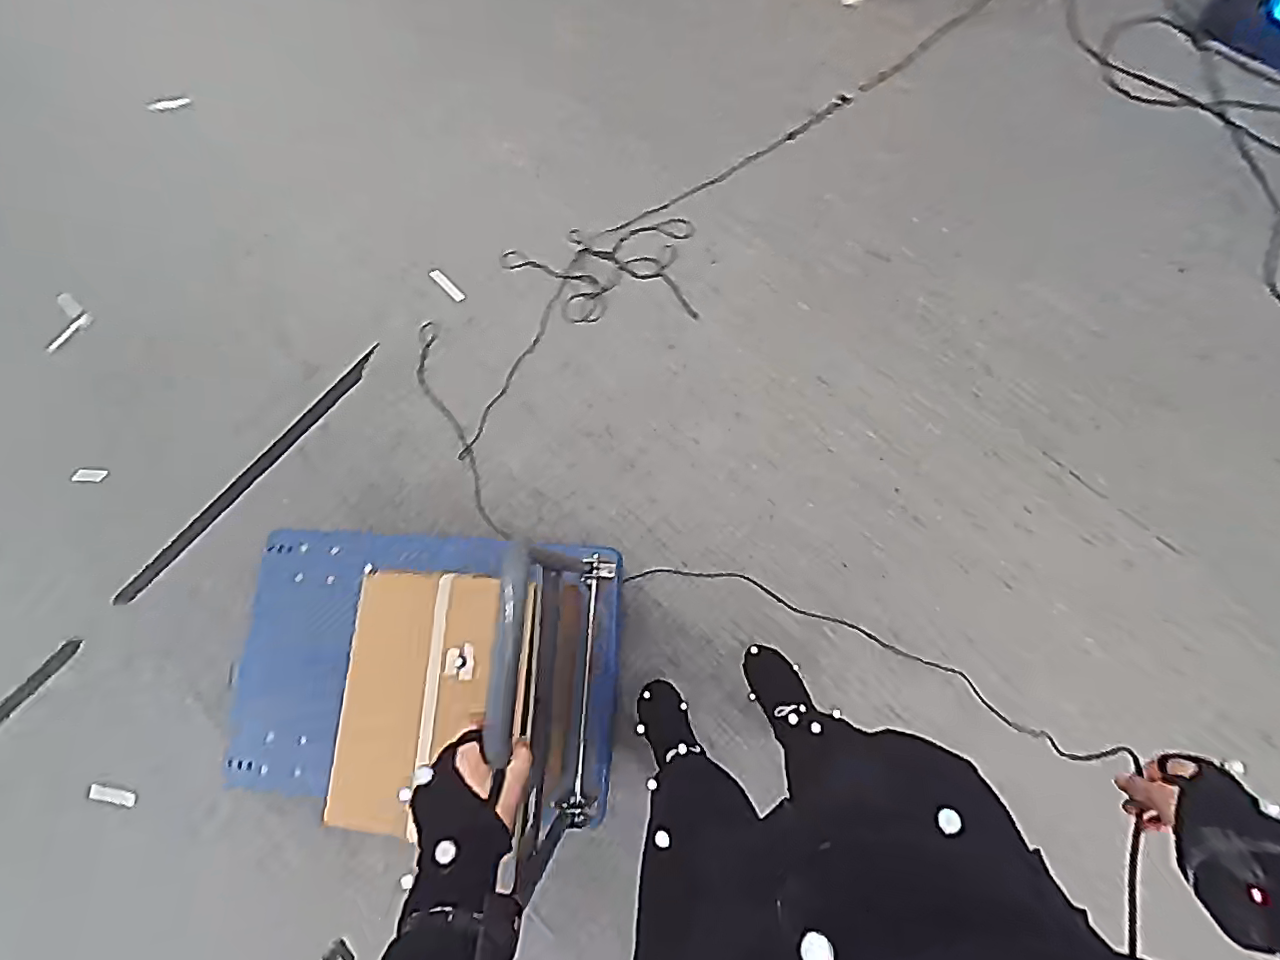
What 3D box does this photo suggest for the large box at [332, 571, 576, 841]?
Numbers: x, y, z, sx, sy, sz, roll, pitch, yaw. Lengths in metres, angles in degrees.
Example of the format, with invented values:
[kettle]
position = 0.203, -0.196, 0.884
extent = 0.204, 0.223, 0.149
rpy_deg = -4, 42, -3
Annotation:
[large box]
position = -0.319, 0.394, 1.036
extent = 0.320, 0.320, 0.408
rpy_deg = 3, 78, 7
